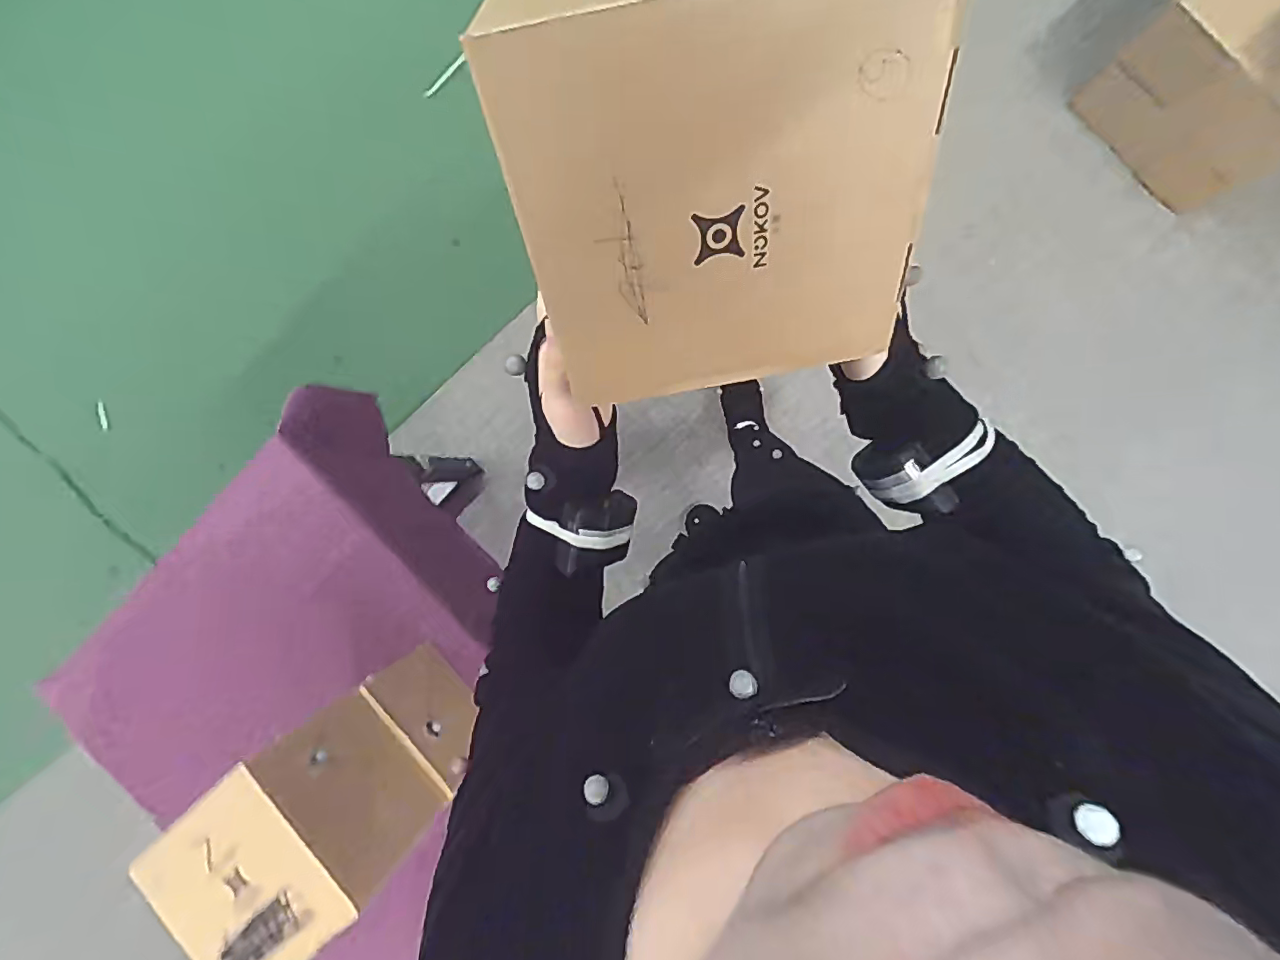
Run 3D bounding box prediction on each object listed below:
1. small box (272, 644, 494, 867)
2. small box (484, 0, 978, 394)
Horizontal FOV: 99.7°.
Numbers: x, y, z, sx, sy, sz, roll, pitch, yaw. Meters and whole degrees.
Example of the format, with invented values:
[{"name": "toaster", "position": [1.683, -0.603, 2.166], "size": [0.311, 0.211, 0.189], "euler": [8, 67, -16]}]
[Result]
[{"name": "small box", "position": [-0.333, 0.358, 0.739], "size": [0.168, 0.176, 0.179], "euler": [-43, 86, 5]}, {"name": "small box", "position": [0.032, -0.173, 0.291], "size": [0.179, 0.168, 0.176], "euler": [-8, 48, 2]}]
